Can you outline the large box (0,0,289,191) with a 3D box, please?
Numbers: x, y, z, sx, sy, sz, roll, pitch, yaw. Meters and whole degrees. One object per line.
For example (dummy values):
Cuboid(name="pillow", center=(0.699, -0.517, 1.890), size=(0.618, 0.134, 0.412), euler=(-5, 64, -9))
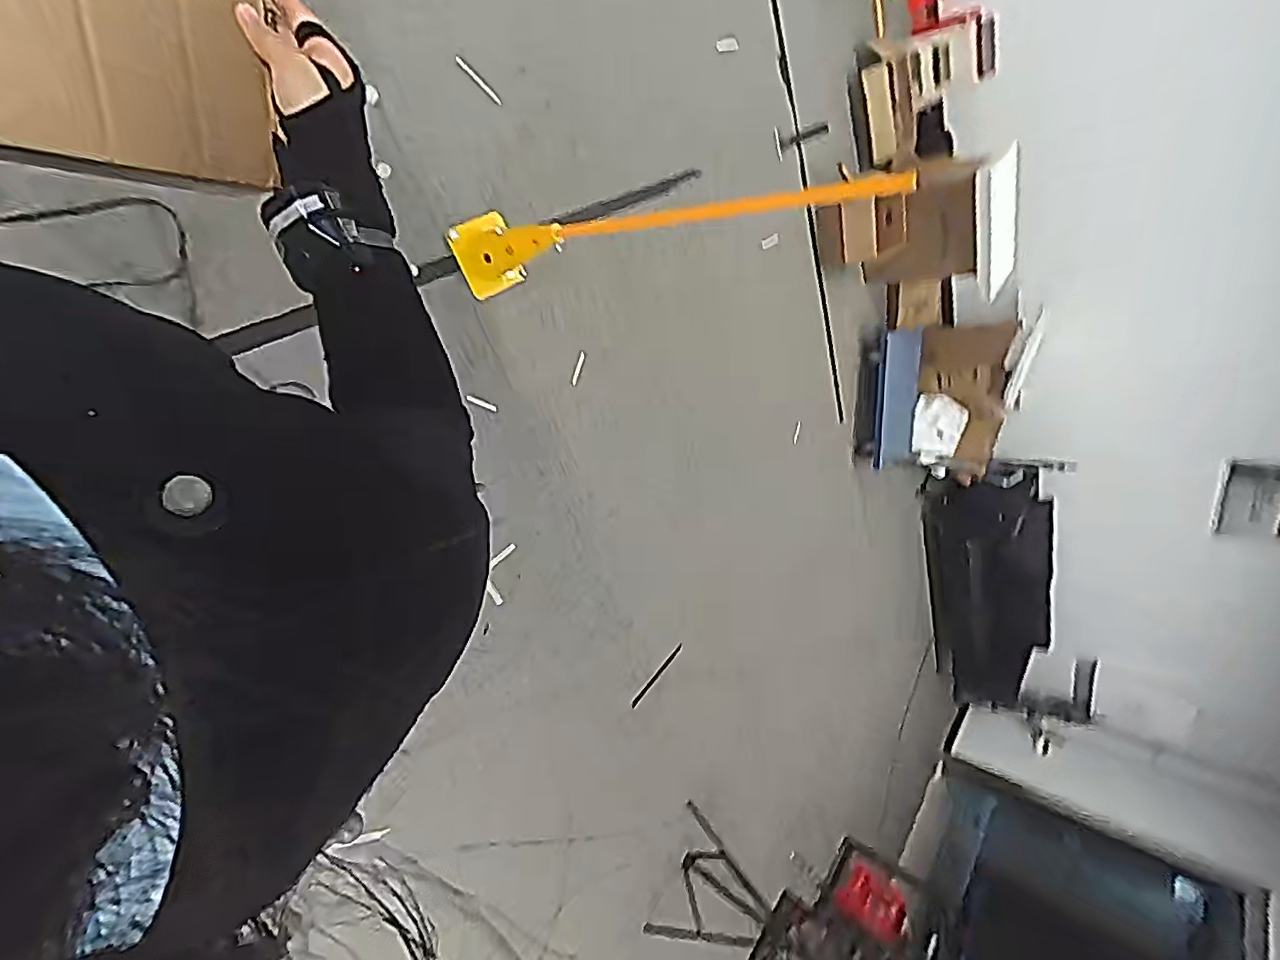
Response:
Cuboid(name="large box", center=(-0.523, -0.413, 0.387), size=(0.408, 0.320, 0.320), euler=(-9, 115, -39))
